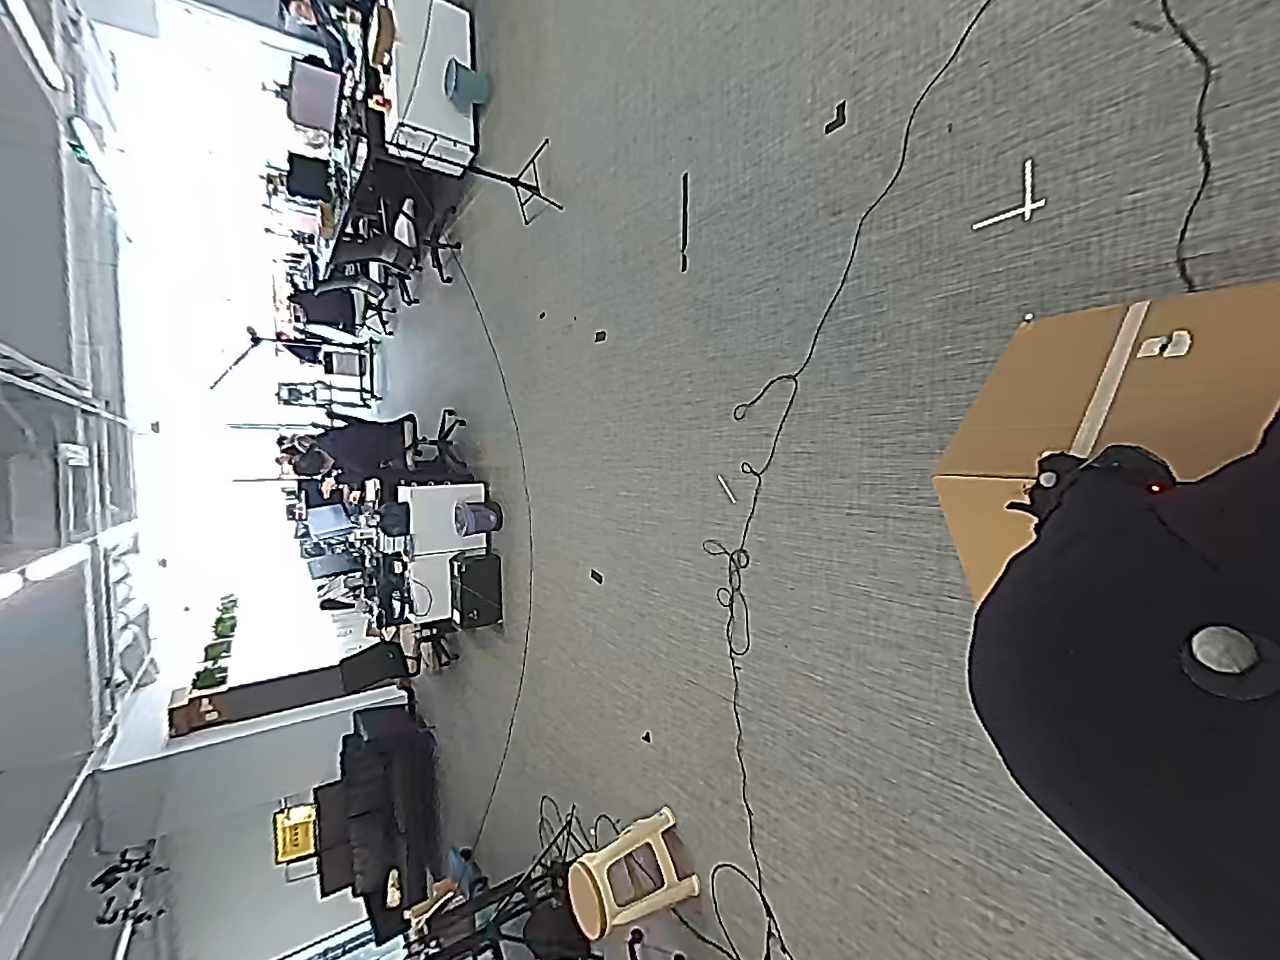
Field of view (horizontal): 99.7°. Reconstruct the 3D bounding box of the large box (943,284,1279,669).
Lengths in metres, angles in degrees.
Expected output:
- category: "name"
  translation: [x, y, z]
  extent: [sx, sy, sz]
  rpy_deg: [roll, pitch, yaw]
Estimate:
- category: "large box"
  translation: [0.703, -0.016, 0.777]
  extent: [0.320, 0.408, 0.320]
  rpy_deg: [6, 135, 52]
